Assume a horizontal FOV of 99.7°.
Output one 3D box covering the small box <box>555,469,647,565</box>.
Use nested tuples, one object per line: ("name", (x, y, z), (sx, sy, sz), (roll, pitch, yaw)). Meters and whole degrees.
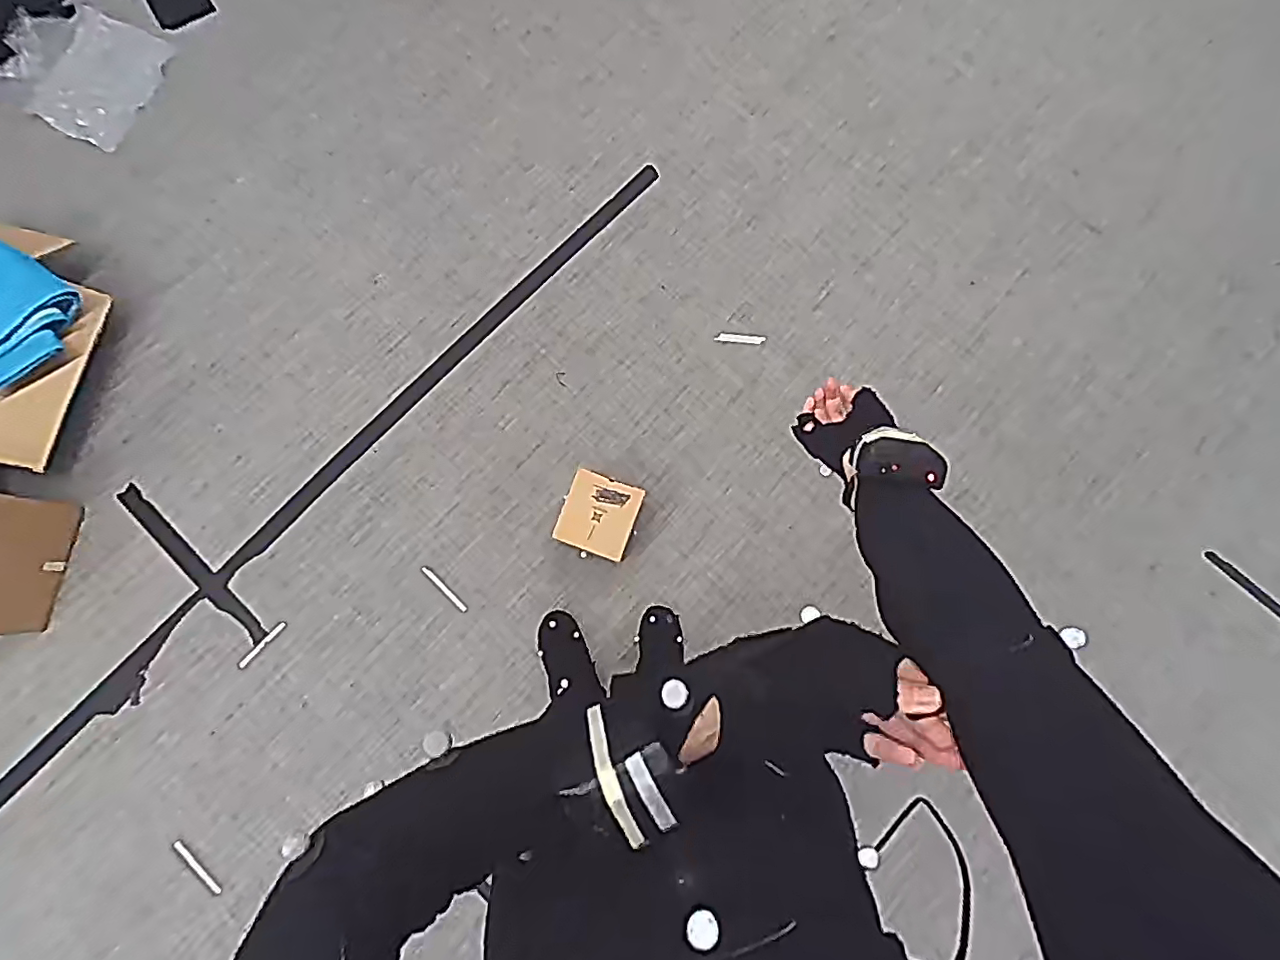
("small box", (-0.091, 0.094, 1.301), (0.168, 0.176, 0.179), (20, 81, 2))
